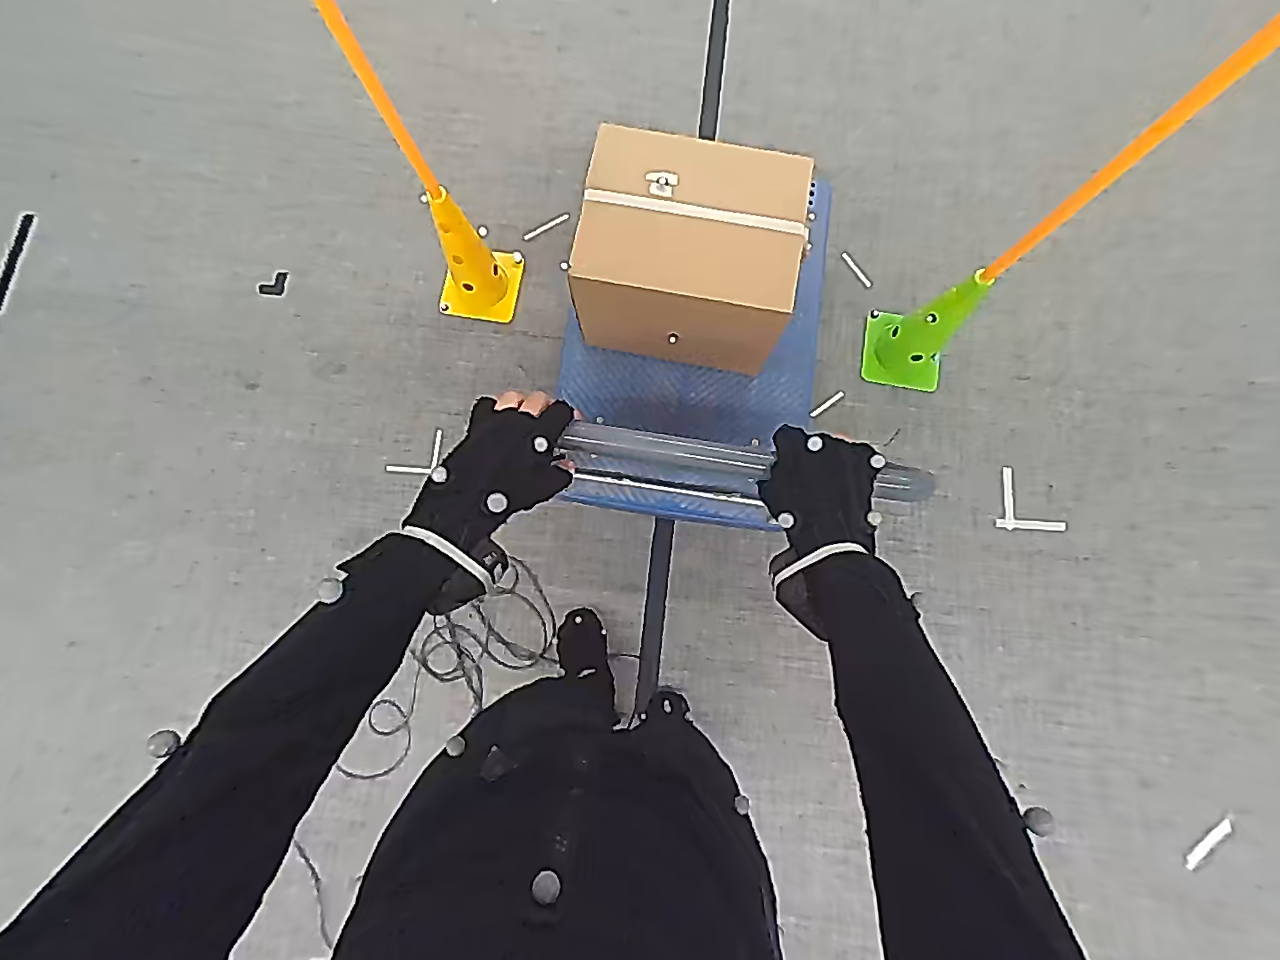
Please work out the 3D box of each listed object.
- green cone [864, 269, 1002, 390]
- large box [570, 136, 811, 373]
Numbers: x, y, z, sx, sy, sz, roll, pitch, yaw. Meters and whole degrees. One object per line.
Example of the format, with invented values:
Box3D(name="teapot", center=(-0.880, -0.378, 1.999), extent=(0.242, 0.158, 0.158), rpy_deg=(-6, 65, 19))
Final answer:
Box3D(name="green cone", center=(0.700, -0.373, 1.261), extent=(0.202, 0.368, 0.200), rpy_deg=(10, 80, 1))
Box3D(name="large box", center=(0.100, -0.443, 1.128), extent=(0.408, 0.320, 0.320), rpy_deg=(11, 81, 3))
